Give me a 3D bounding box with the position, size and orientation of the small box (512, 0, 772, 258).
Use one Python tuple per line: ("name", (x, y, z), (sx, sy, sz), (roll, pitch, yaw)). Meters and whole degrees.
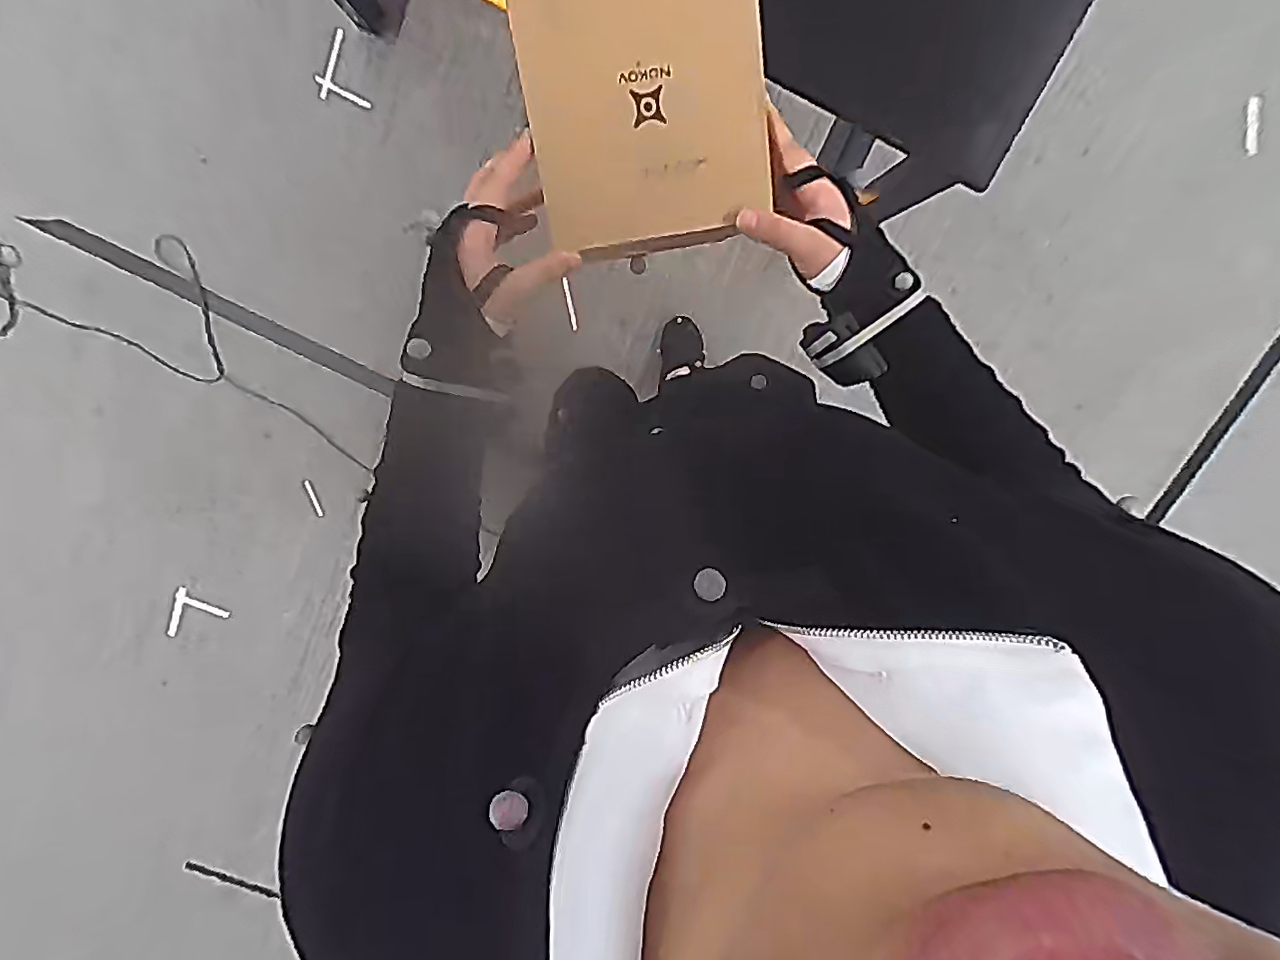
("small box", (-0.001, -0.293, 0.448), (0.168, 0.176, 0.179), (-11, 110, -1))
